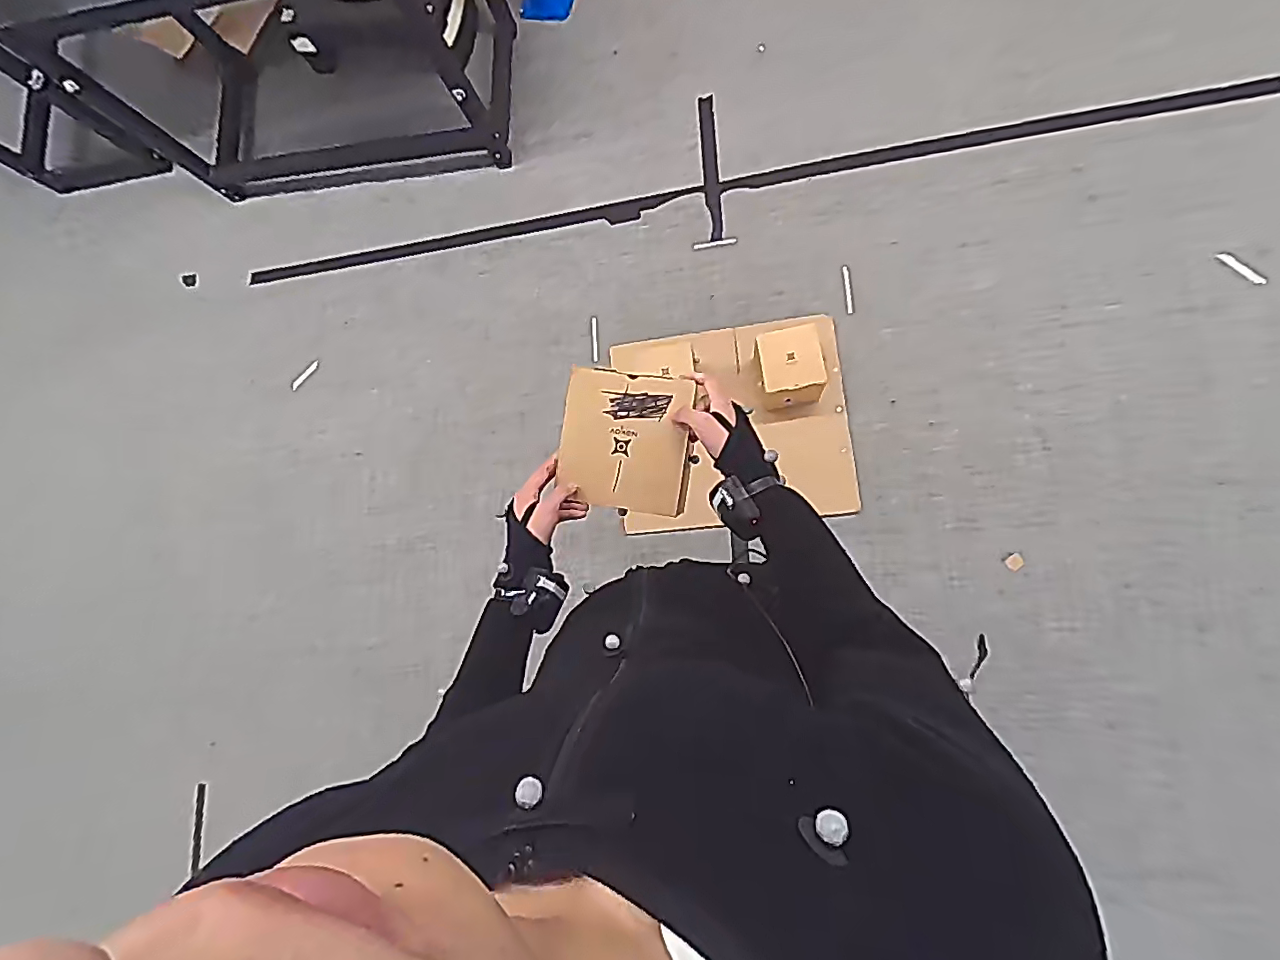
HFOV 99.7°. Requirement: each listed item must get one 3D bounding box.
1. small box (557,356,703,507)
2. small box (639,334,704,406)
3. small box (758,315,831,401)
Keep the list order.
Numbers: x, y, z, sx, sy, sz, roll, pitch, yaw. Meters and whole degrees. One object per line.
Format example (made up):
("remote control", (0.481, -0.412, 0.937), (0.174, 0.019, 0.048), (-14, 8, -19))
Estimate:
("small box", (-0.005, -0.062, 0.765), (0.168, 0.176, 0.179), (8, 91, 8))
("small box", (0.097, -0.309, 1.602), (0.168, 0.176, 0.179), (-7, 82, 10))
("small box", (0.435, -0.343, 1.548), (0.168, 0.176, 0.179), (-10, 81, 9))
